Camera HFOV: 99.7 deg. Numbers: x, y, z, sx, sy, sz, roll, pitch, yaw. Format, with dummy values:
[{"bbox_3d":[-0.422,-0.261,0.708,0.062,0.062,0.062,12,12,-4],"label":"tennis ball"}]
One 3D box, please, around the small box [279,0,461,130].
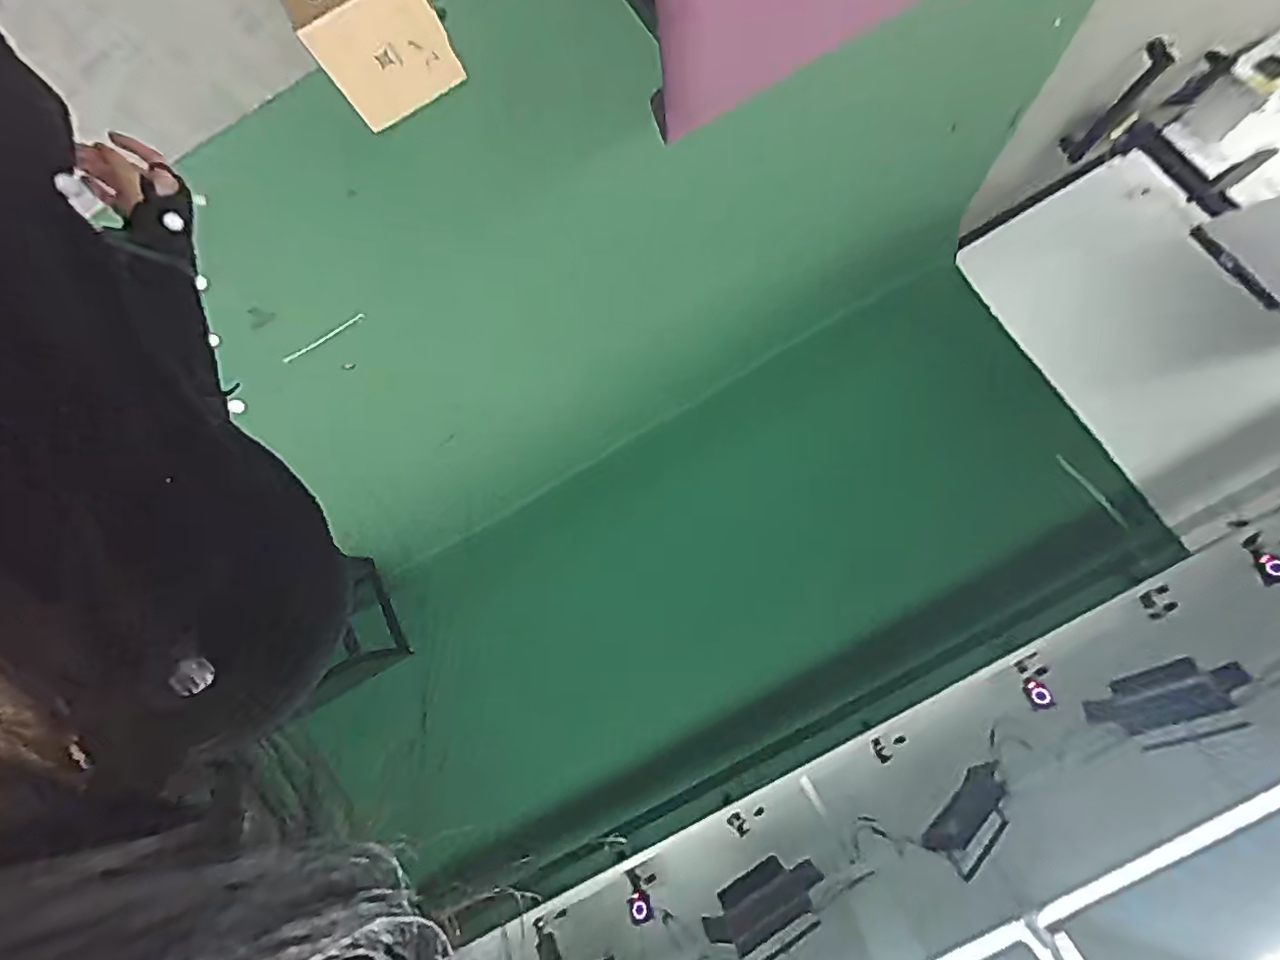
[{"bbox_3d":[-0.400,-0.673,0.787,0.179,0.176,0.168,-29,167,2],"label":"small box"}]
